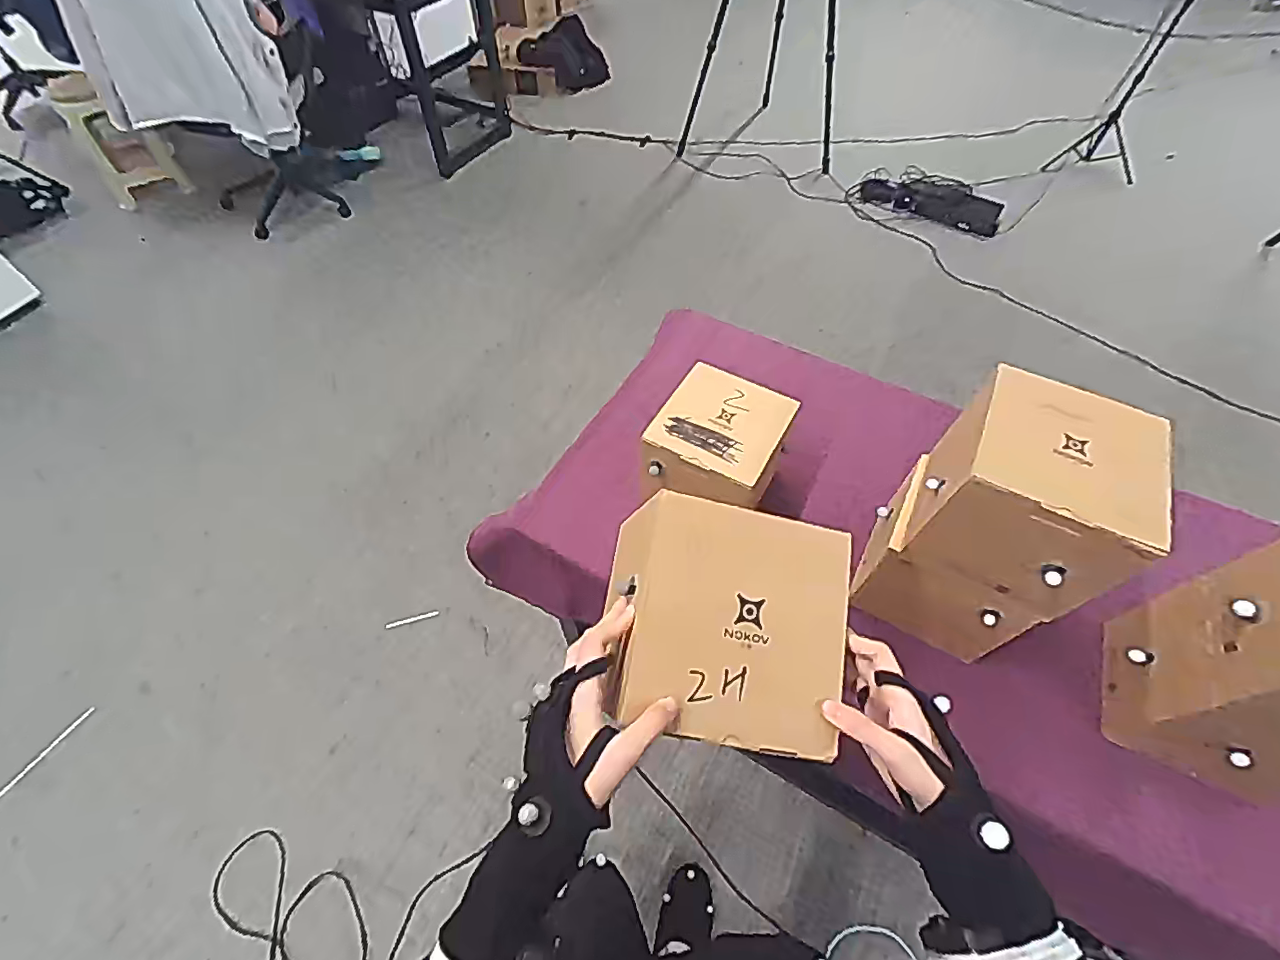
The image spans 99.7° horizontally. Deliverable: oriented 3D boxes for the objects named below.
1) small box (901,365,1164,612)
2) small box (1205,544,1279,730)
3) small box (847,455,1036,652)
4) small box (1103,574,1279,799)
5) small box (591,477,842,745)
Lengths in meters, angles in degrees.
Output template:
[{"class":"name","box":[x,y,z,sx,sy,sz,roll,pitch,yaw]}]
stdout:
[{"class":"small box","box":[0.411,0.014,0.588,0.168,0.176,0.179,26,58,15]},{"class":"small box","box":[0.681,0.150,0.487,0.179,0.176,0.168,24,58,16]},{"class":"small box","box":[0.403,0.104,0.724,0.179,0.176,0.168,27,59,16]},{"class":"small box","box":[0.683,0.243,0.624,0.179,0.176,0.168,22,58,16]},{"class":"small box","box":[0.058,0.118,0.488,0.168,0.176,0.179,14,73,-8]}]
